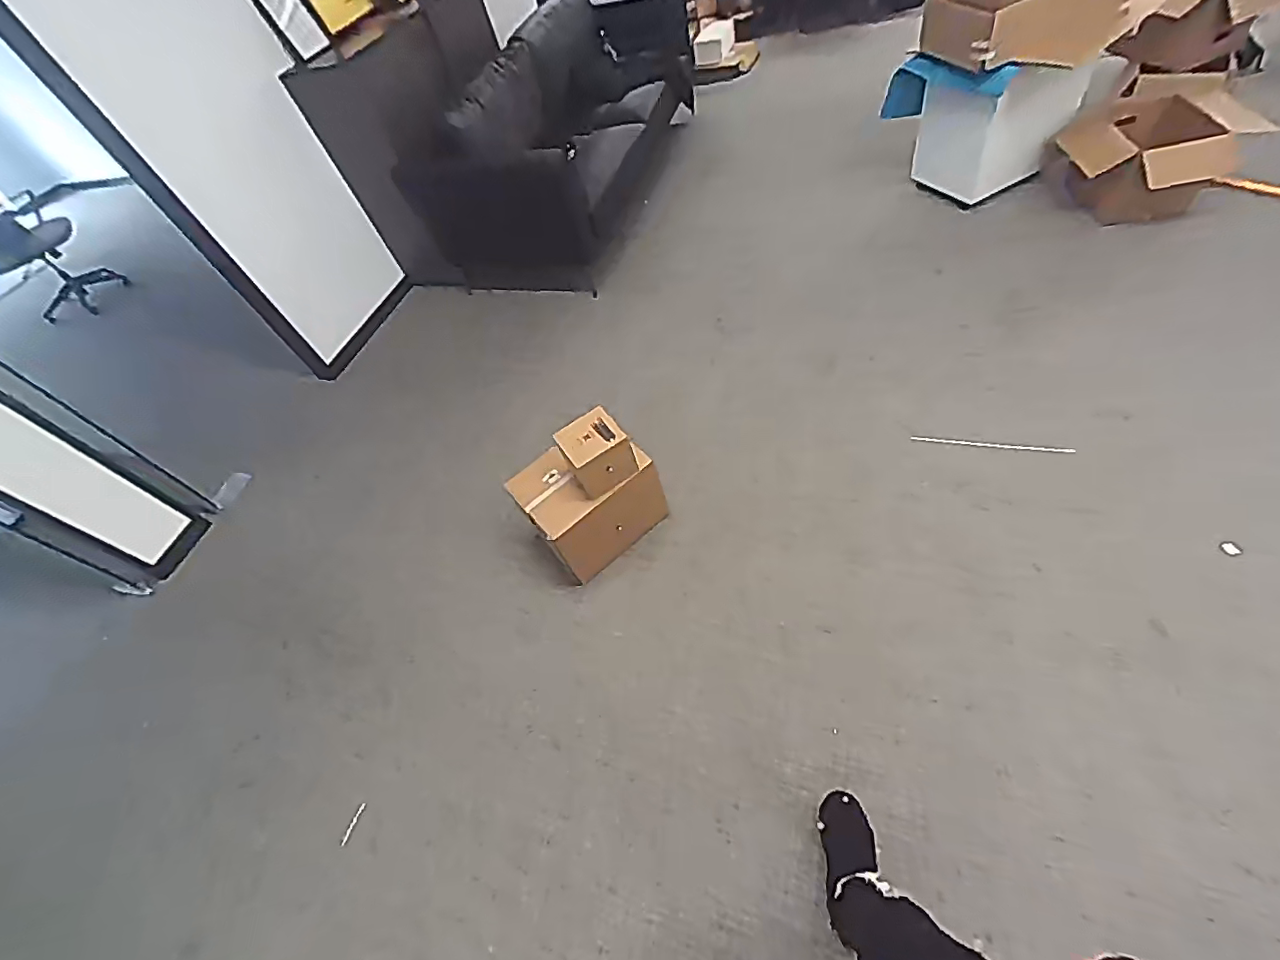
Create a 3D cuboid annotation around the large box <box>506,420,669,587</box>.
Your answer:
[{"bbox_3d":[-0.164,0.079,1.843,0.408,0.320,0.320,-40,53,-14],"label":"large box"}]
